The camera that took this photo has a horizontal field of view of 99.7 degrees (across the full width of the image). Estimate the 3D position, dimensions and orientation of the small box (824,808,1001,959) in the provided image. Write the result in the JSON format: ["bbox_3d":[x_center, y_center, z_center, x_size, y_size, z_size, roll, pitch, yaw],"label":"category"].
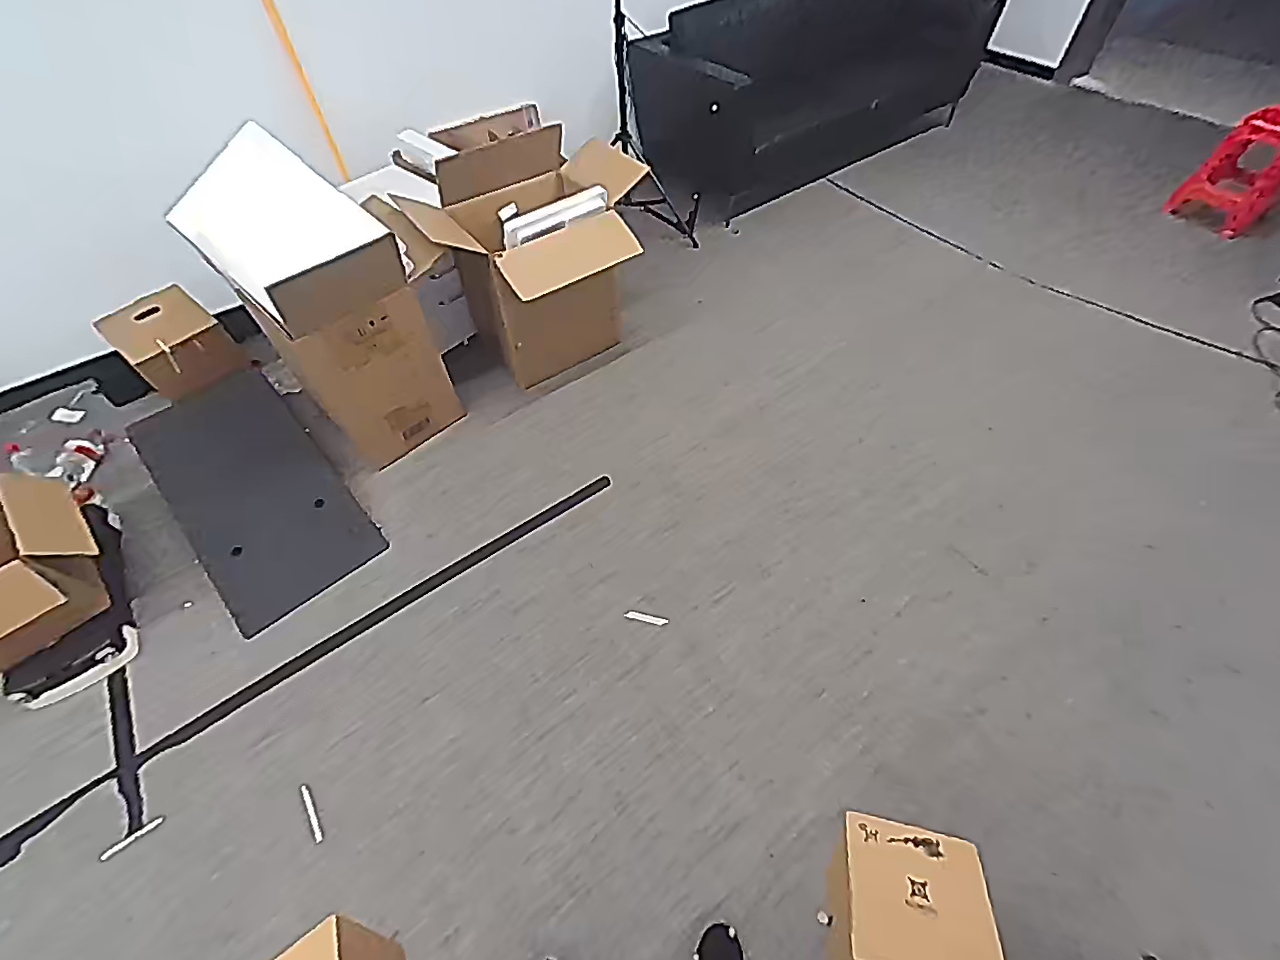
[{"bbox_3d":[0.336,0.574,0.694,0.168,0.176,0.179,8,31,14],"label":"small box"}]

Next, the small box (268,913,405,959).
[{"bbox_3d":[-0.370,0.658,0.617,0.168,0.176,0.179,-32,39,-19],"label":"small box"}]
